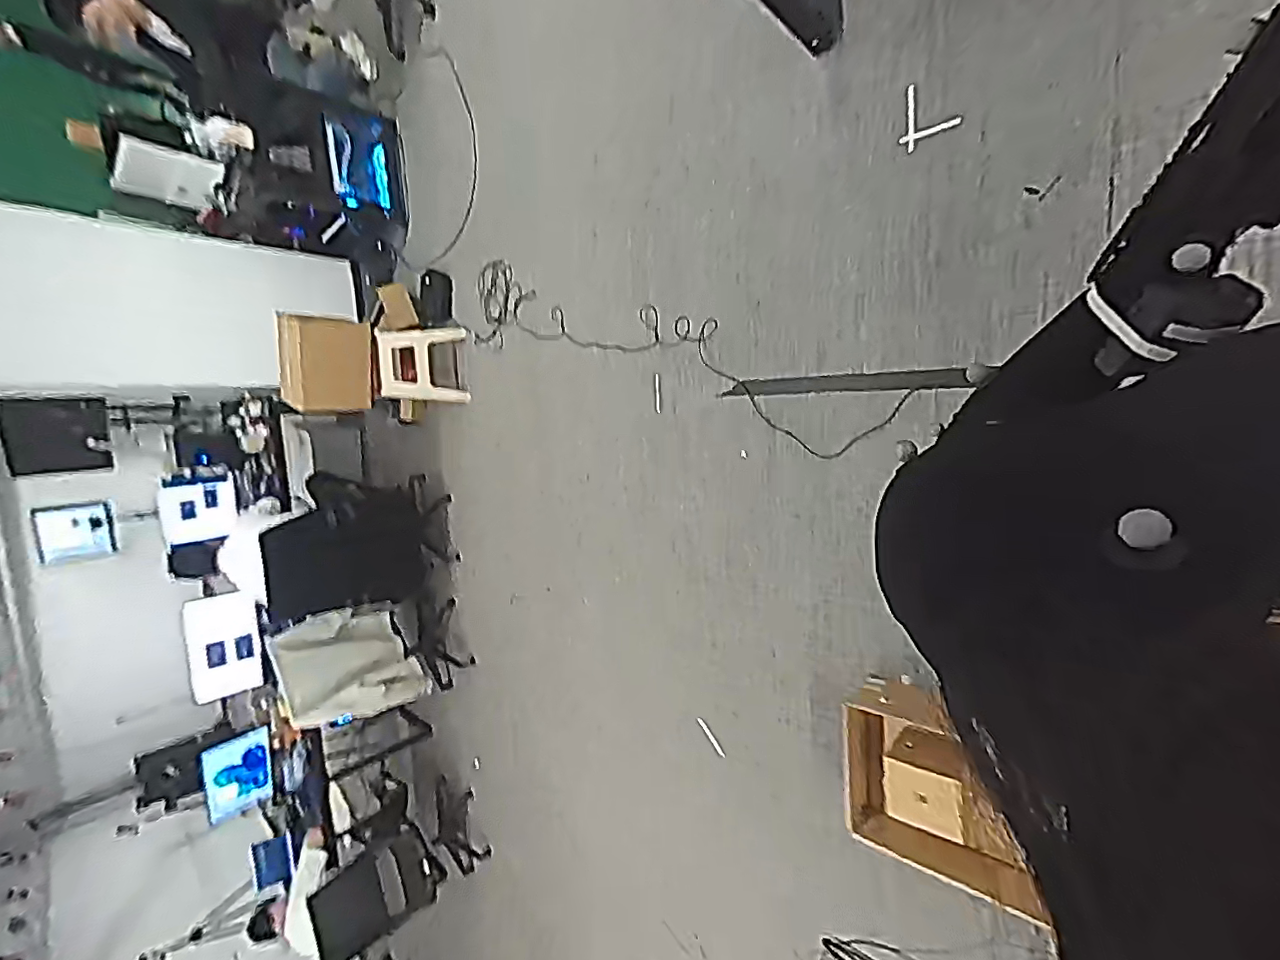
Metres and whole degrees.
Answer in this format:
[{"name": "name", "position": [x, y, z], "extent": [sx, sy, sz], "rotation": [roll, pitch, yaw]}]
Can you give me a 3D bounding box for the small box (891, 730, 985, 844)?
[{"name": "small box", "position": [0.764, 0.771, 1.384], "extent": [0.179, 0.176, 0.168], "rotation": [-1, 97, 43]}]
